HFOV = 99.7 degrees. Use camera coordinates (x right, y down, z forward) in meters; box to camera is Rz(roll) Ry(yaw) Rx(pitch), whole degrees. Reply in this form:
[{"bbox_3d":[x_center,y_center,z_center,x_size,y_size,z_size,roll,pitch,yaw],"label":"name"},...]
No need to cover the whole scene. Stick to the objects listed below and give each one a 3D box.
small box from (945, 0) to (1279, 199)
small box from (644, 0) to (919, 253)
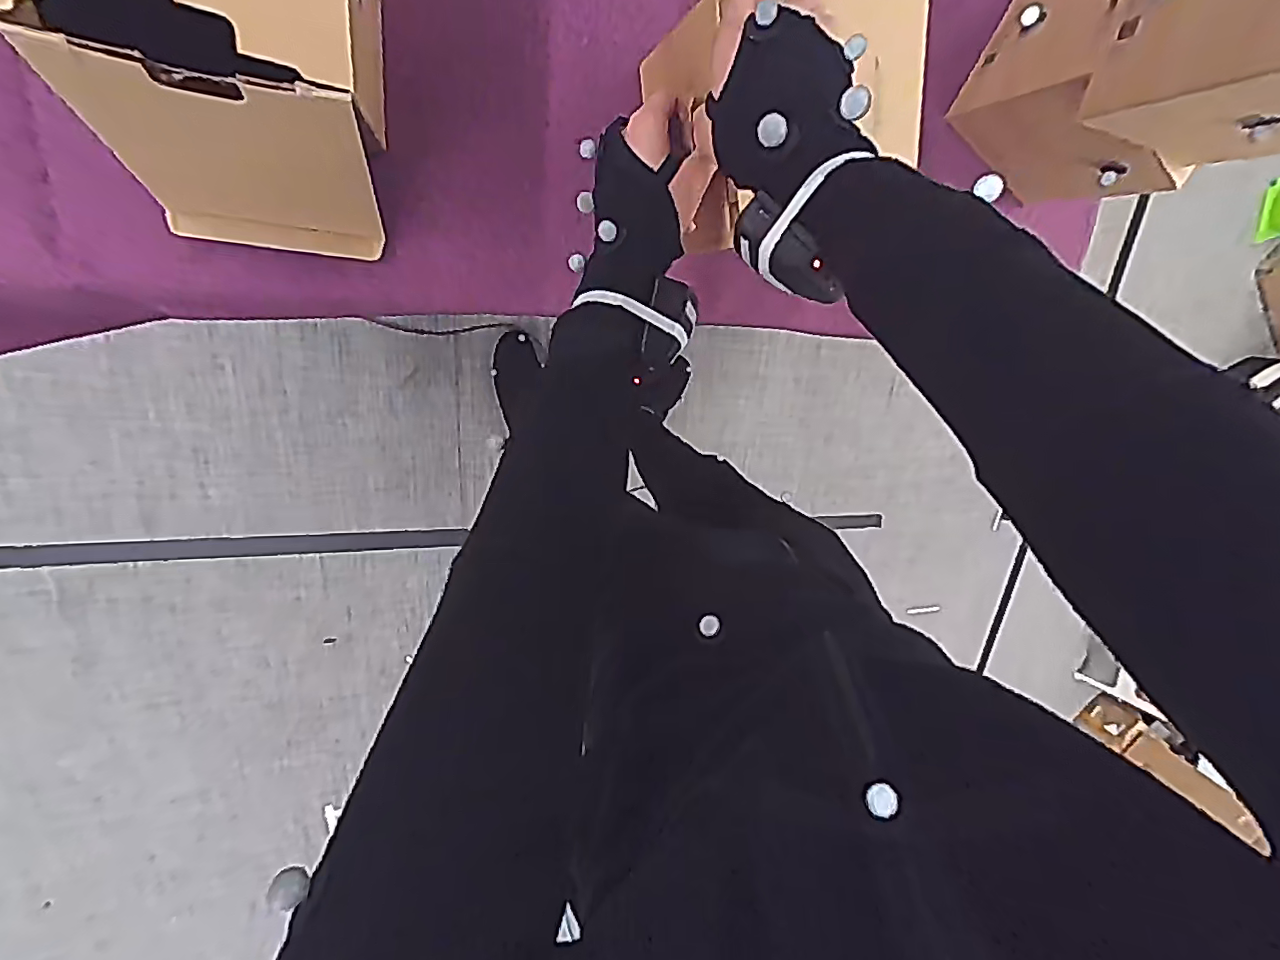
[{"bbox_3d":[0.469,-0.416,0.558,0.179,0.176,0.168,25,101,-25],"label":"small box"},{"bbox_3d":[0.110,-0.301,0.482,0.179,0.176,0.168,-14,115,-14],"label":"small box"}]
